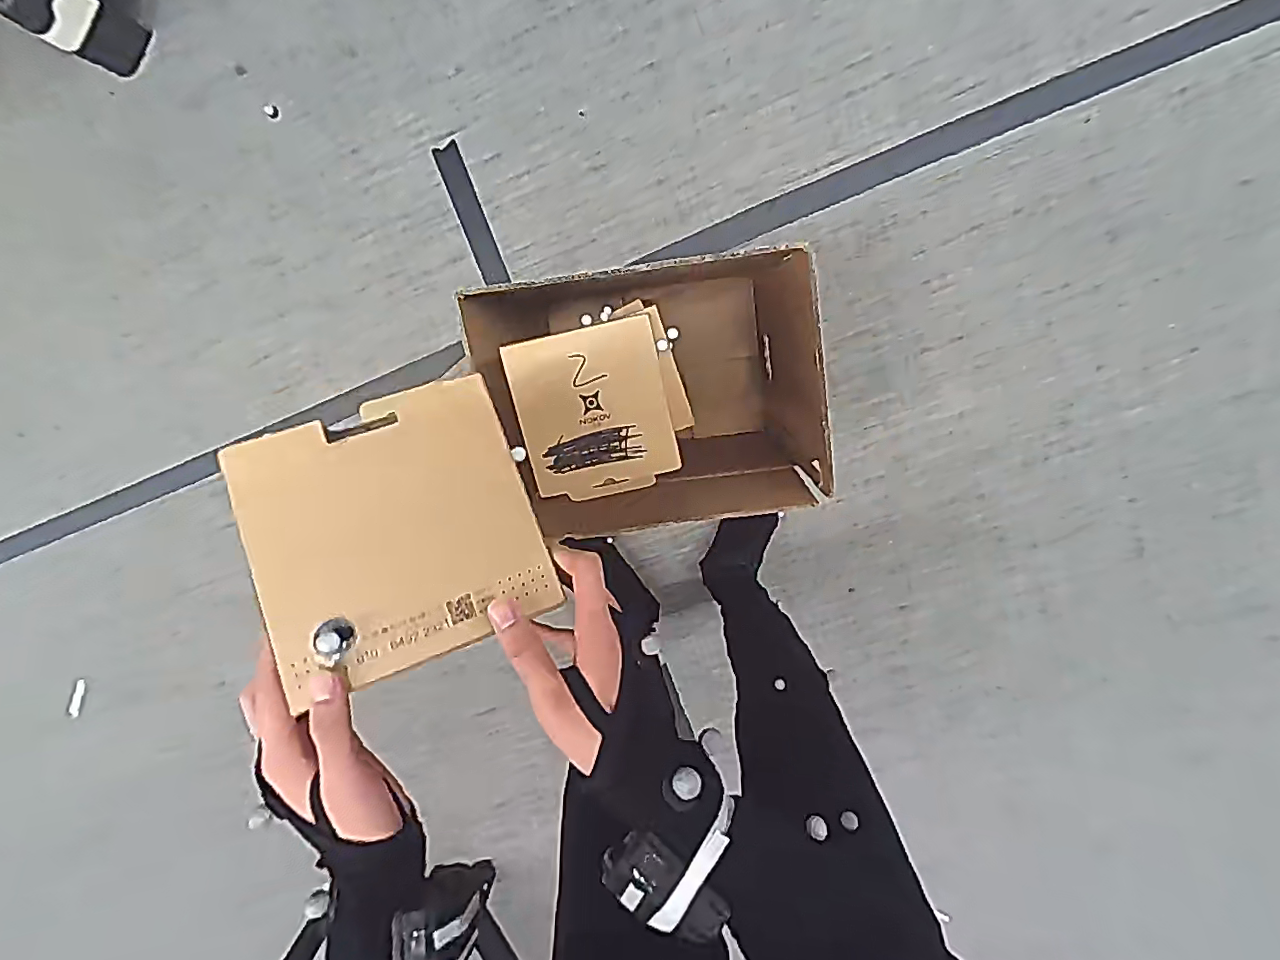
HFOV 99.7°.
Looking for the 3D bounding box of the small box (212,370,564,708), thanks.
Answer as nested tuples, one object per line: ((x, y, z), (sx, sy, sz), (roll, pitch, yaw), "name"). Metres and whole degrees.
((-0.162, 0.049, 0.405), (0.168, 0.179, 0.176), (-21, 80, -13), "small box")
